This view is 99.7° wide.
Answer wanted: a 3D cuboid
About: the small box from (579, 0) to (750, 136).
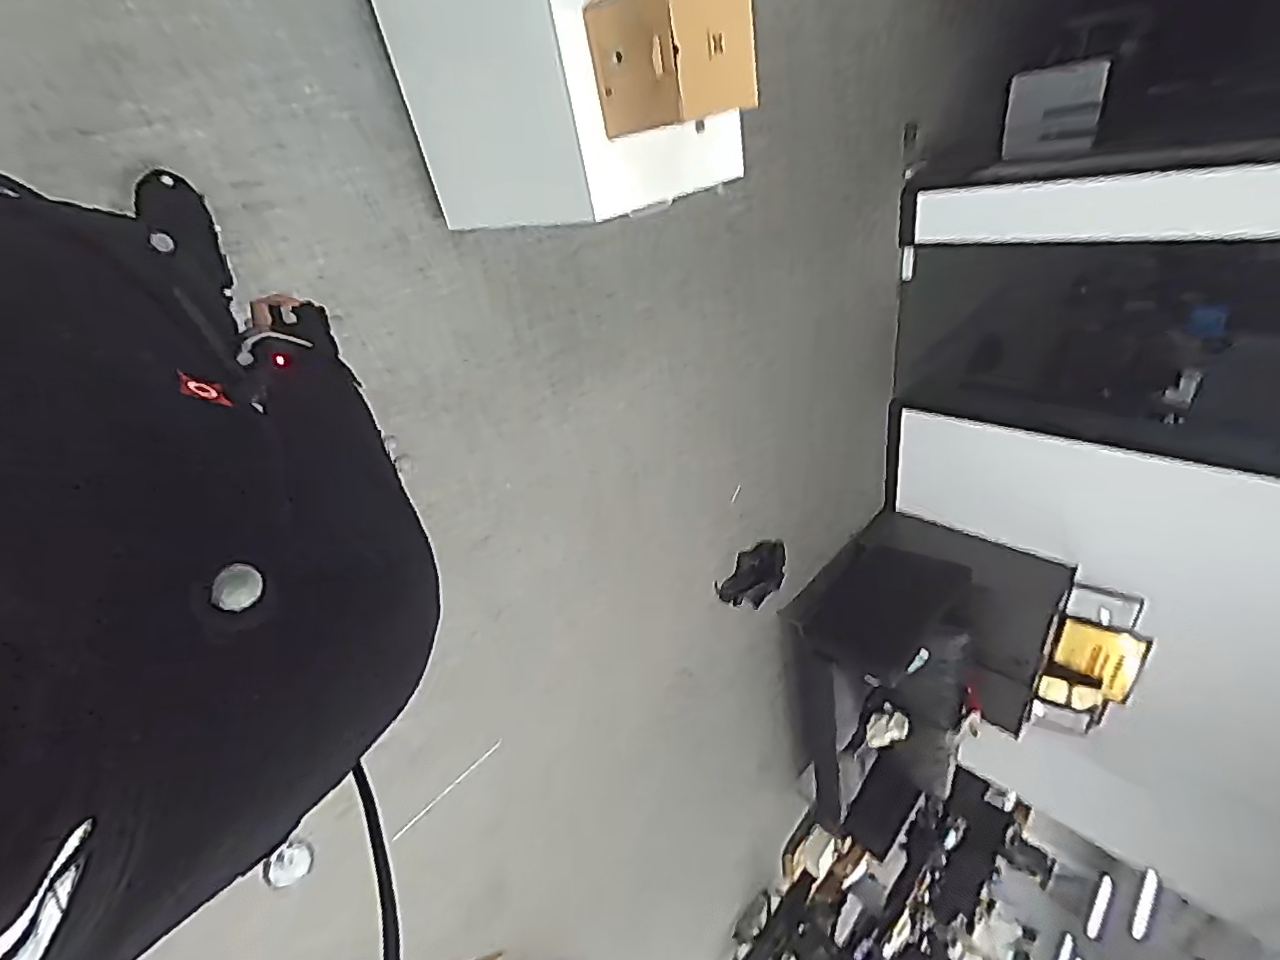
[{"bbox_3d":[0.040,-0.628,0.802,0.179,0.176,0.168,-36,130,-29],"label":"small box"}]
